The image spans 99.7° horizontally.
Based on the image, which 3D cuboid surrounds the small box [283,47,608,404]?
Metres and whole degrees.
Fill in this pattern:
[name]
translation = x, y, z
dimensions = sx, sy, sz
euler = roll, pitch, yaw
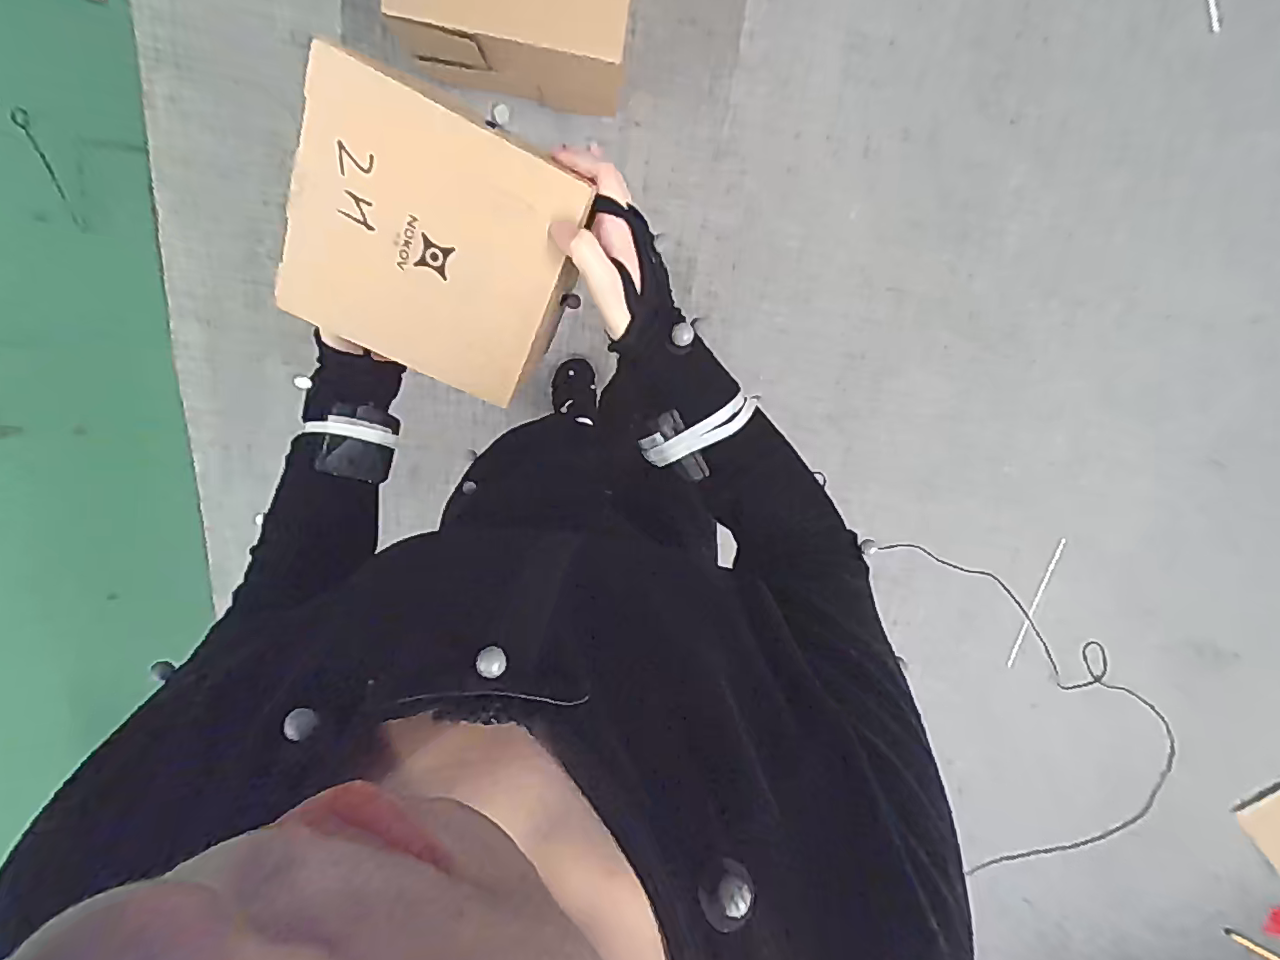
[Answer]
[small box]
translation = -0.137, -0.193, 0.431
dimensions = 0.179, 0.176, 0.168
euler = 24, 116, -11
